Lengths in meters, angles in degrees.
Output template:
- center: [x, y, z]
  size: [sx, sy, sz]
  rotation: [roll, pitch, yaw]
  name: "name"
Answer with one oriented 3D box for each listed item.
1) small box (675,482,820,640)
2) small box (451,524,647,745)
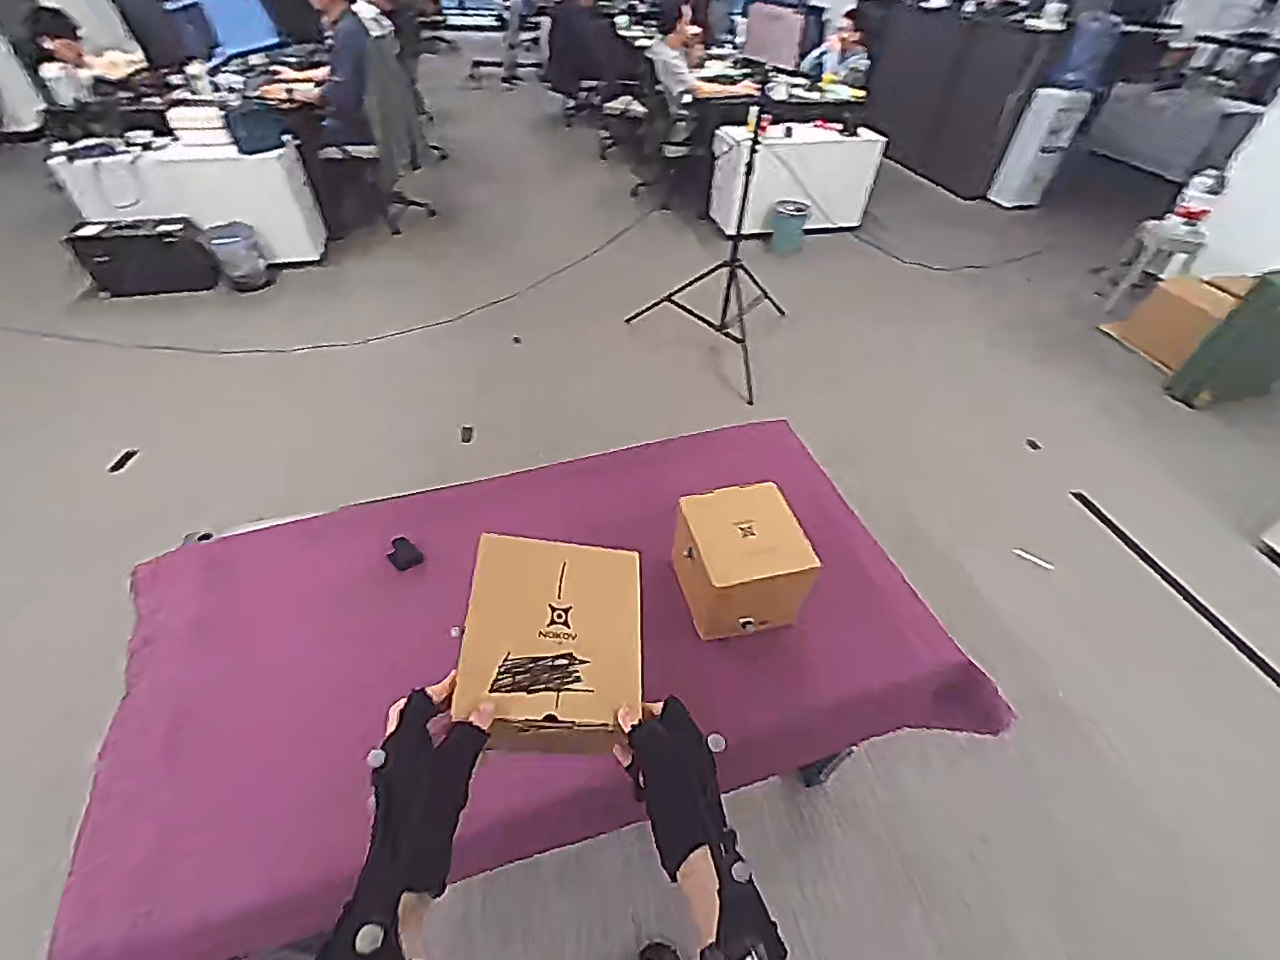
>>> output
- center: [0.160, 0.131, 0.879]
  size: [0.168, 0.176, 0.179]
  rotation: [-10, 48, -11]
  name: "small box"
- center: [-0.095, 0.170, 0.565]
  size: [0.168, 0.176, 0.179]
  rotation: [10, 54, -14]
  name: "small box"
